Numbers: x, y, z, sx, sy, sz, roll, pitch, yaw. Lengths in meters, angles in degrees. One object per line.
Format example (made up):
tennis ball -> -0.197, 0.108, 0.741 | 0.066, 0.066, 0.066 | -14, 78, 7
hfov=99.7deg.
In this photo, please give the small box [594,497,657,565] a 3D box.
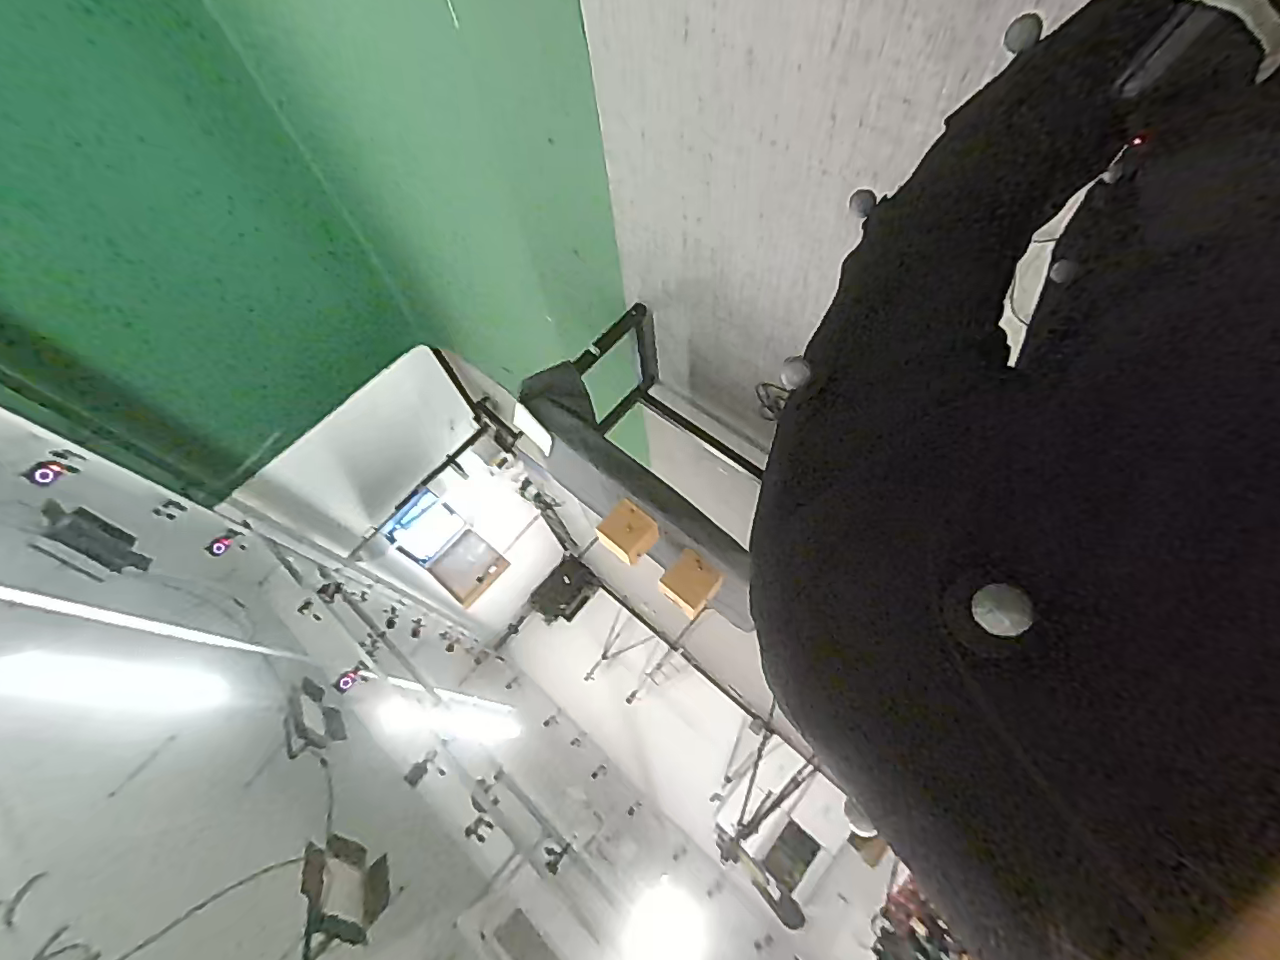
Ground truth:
small box -> -0.050, 0.191, 2.063 | 0.168, 0.176, 0.179 | 37, 164, 18
